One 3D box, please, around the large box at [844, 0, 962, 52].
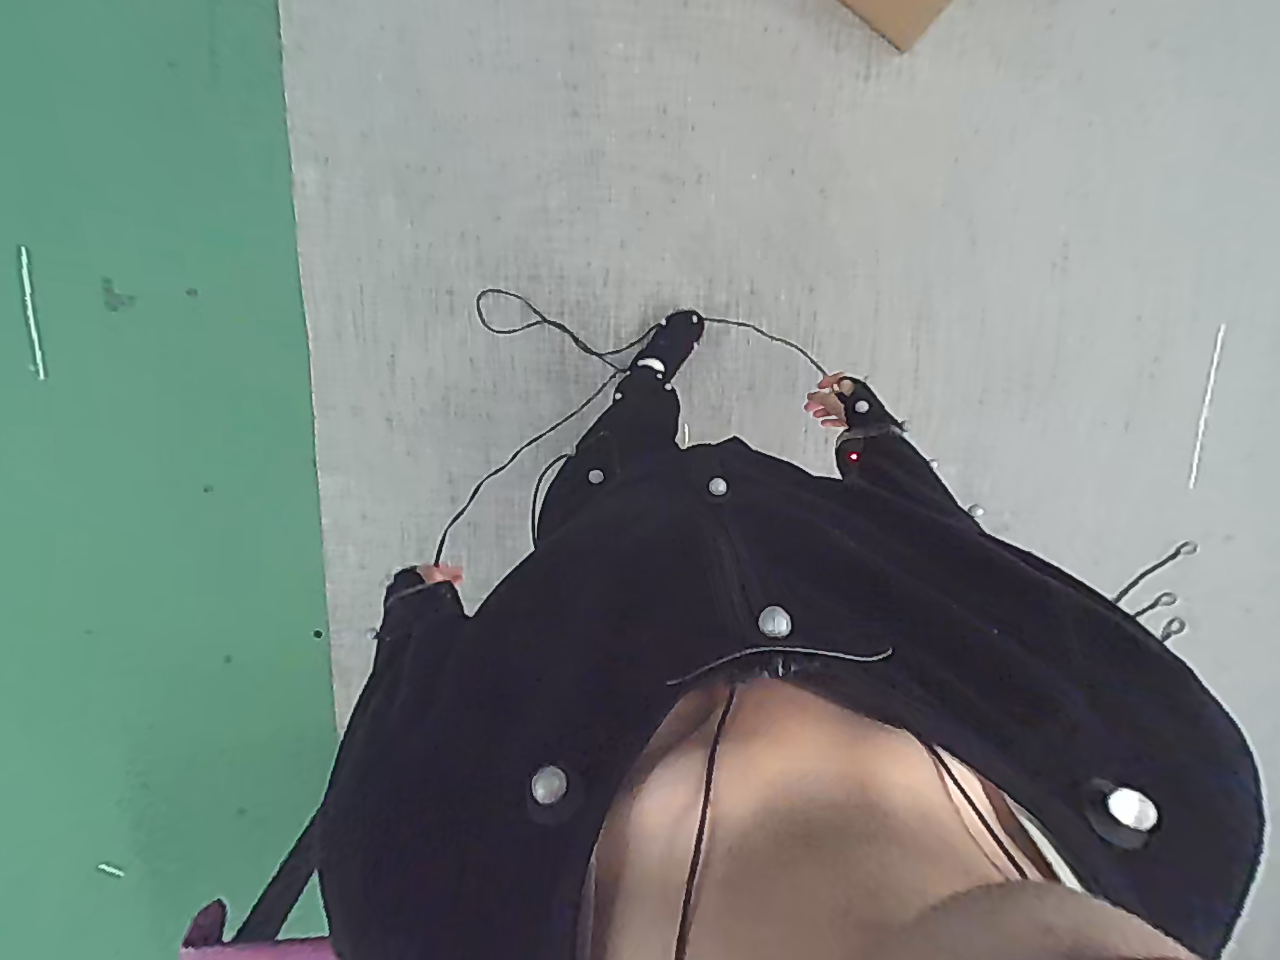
[{"bbox_3d":[0.597,-1.262,1.159,0.408,0.320,0.320,31,97,-9],"label":"large box"}]
